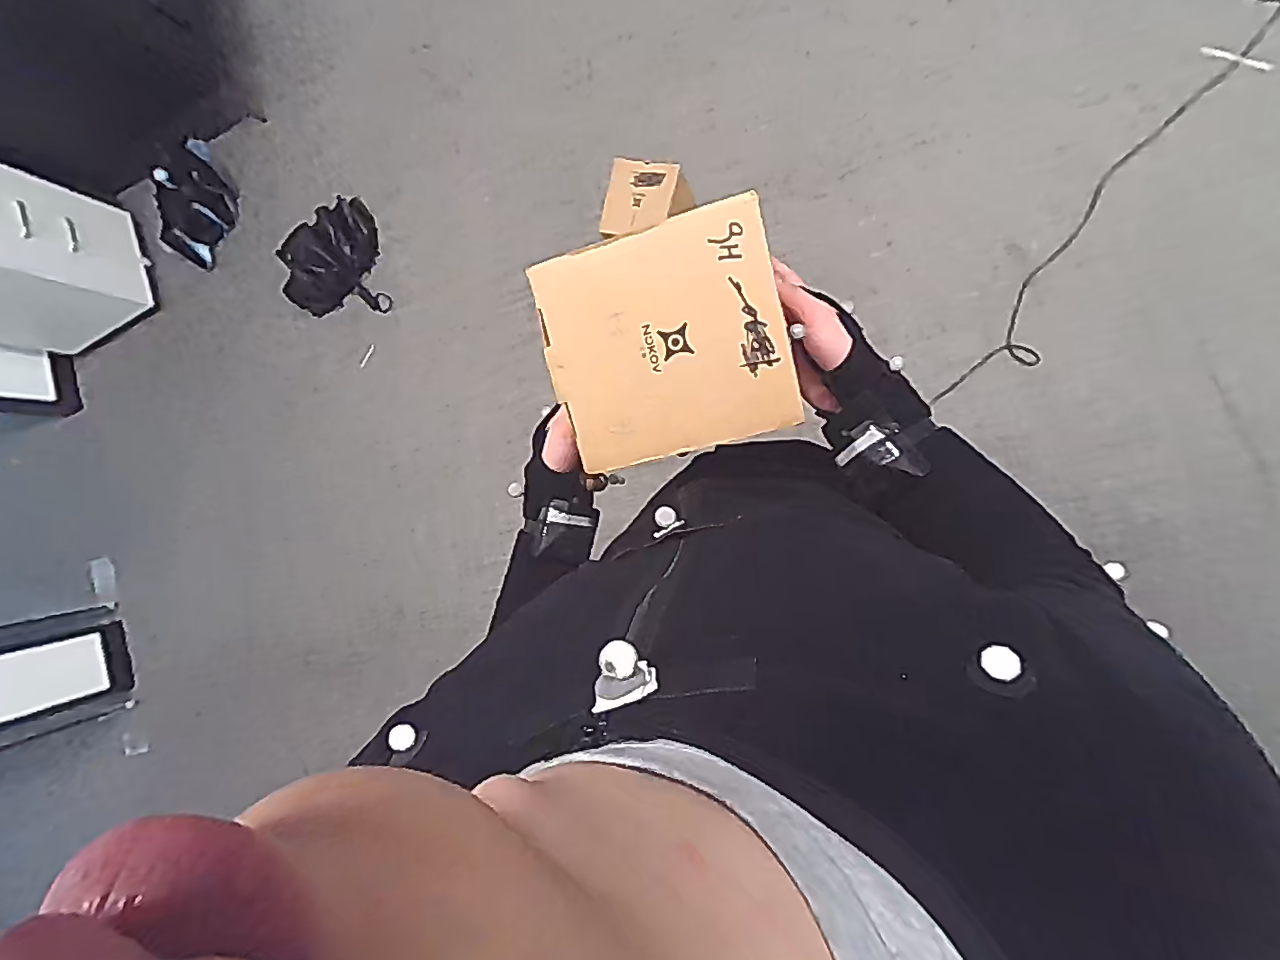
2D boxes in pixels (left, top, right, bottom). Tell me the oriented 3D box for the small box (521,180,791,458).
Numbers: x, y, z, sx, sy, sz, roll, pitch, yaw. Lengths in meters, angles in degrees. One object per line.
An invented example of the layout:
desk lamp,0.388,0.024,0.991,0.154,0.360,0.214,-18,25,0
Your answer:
small box,0.026,-0.127,0.474,0.179,0.176,0.168,-12,101,14

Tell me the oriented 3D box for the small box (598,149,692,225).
small box,0.020,-0.673,1.329,0.168,0.176,0.179,17,99,16
